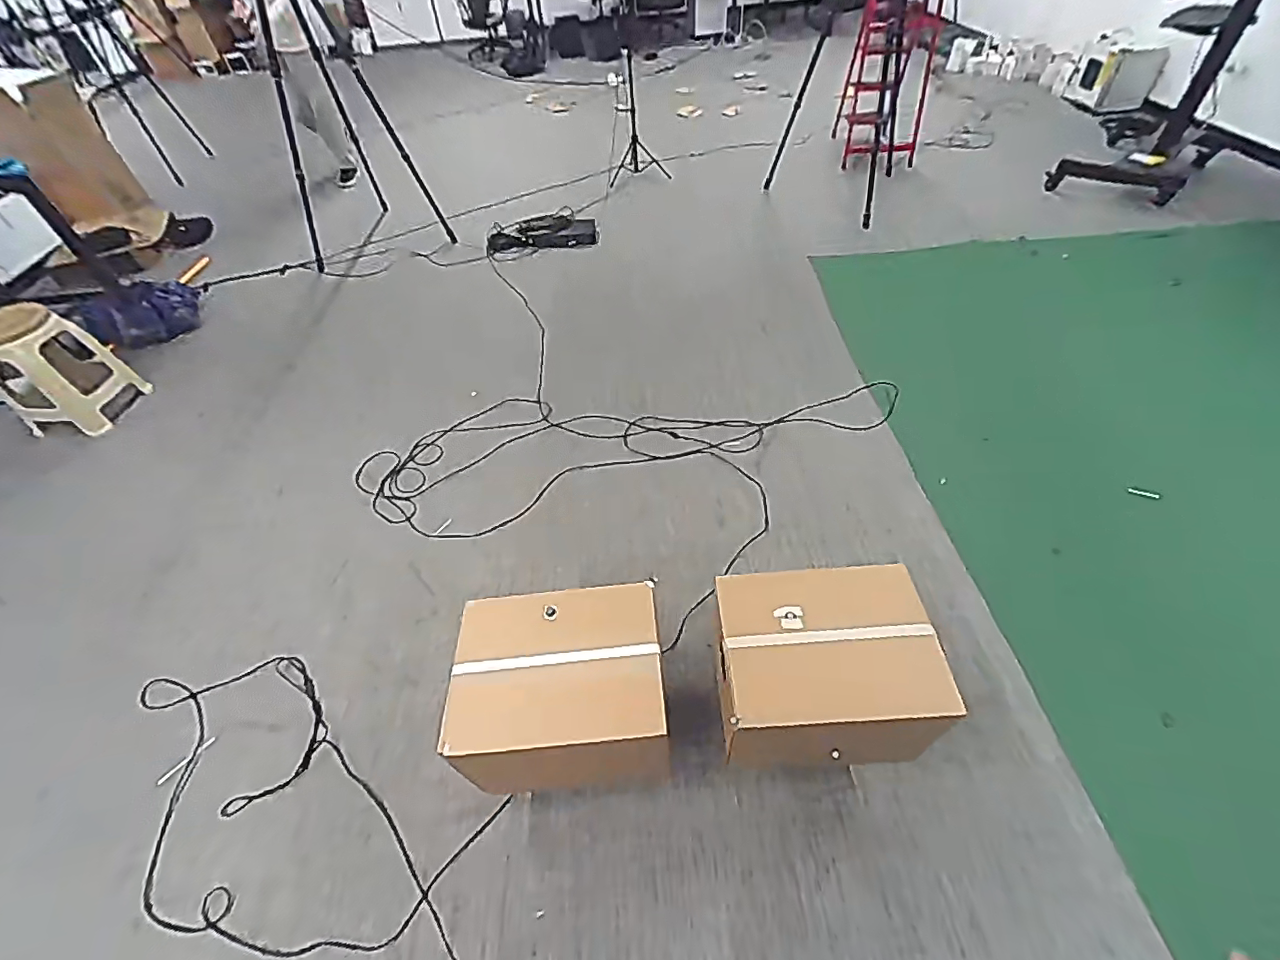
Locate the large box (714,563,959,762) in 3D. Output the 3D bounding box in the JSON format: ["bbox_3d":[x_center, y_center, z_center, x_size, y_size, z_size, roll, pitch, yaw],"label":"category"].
[{"bbox_3d":[0.382,0.405,1.179,0.408,0.320,0.320,-4,49,2],"label":"large box"}]
